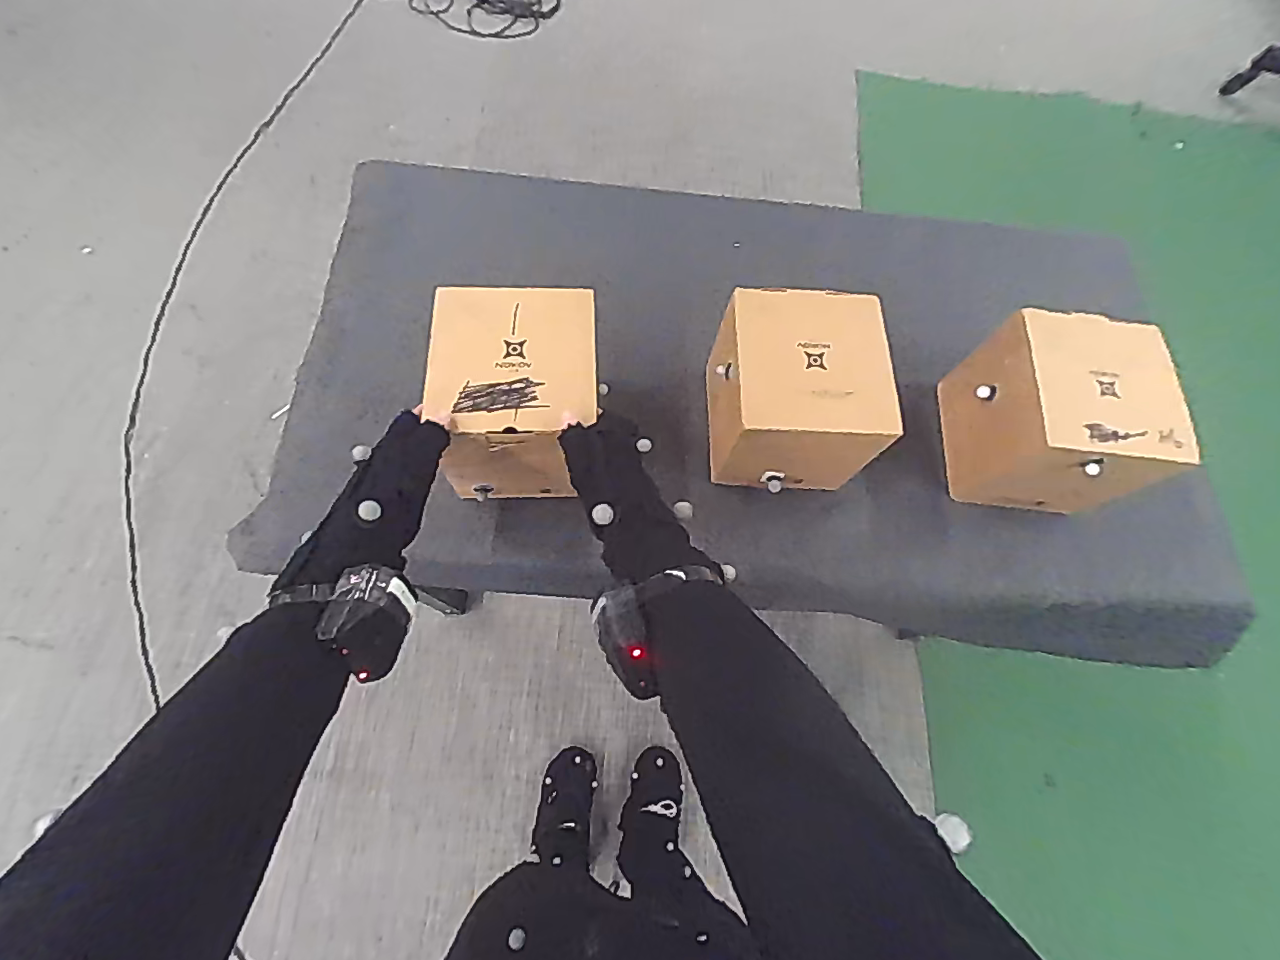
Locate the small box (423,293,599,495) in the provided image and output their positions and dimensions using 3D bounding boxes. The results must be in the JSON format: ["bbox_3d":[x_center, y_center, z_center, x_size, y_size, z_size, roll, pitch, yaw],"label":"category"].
[{"bbox_3d":[-0.131,-0.088,0.616,0.168,0.176,0.179,-1,67,-5],"label":"small box"}]

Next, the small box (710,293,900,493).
[{"bbox_3d":[0.179,-0.096,0.648,0.168,0.176,0.179,1,69,-3],"label":"small box"}]

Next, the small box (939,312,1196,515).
[{"bbox_3d":[0.494,-0.073,0.660,0.168,0.176,0.179,6,68,-1],"label":"small box"}]
